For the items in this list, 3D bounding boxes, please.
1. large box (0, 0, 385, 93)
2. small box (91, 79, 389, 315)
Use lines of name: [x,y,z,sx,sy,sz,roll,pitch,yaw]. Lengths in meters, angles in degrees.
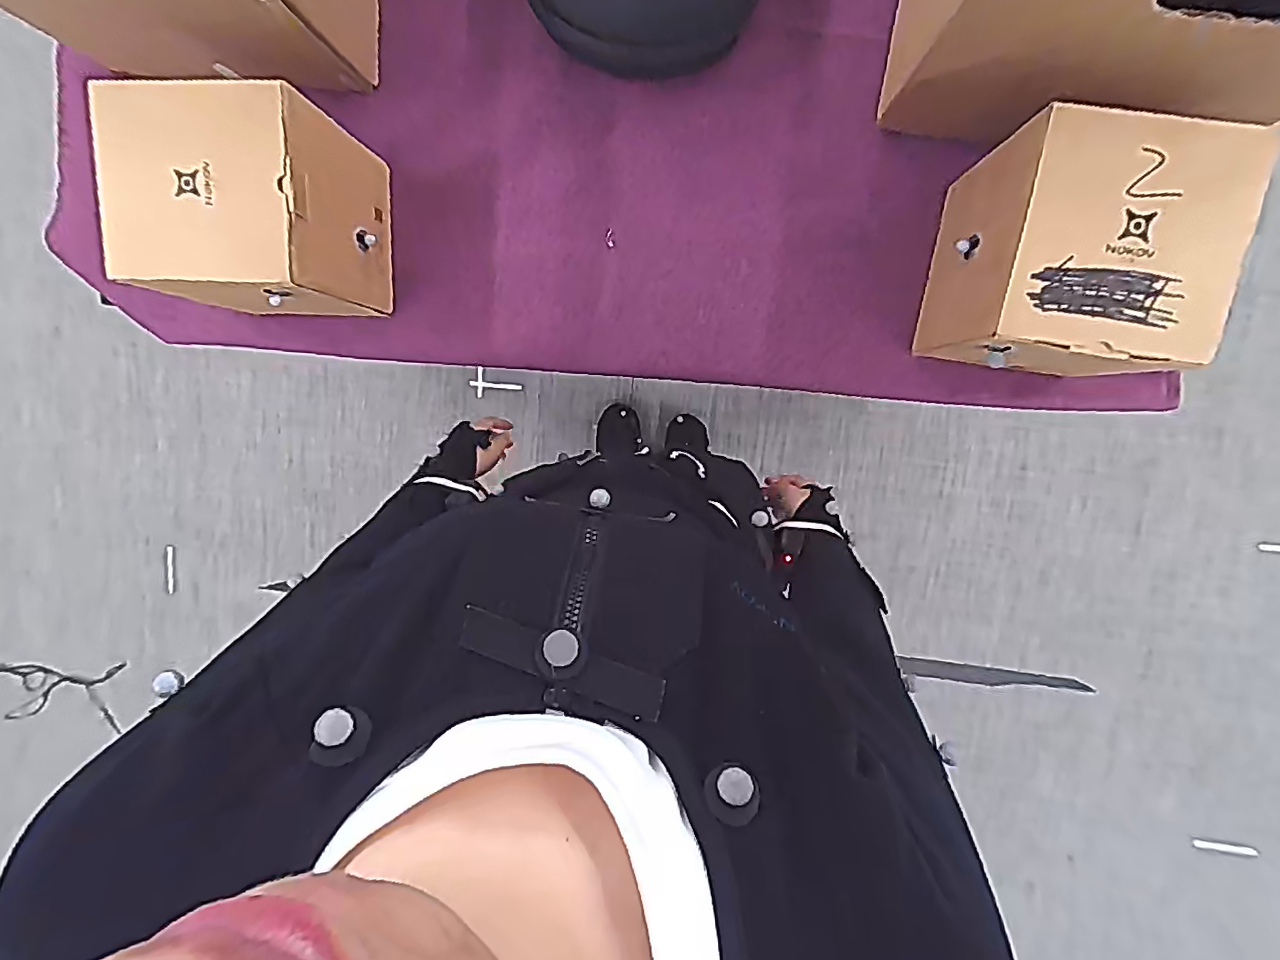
large box: [-0.426,-0.611,0.426,0.320,0.320,0.408,5,101,2]
small box: [-0.381,-0.266,0.546,0.179,0.176,0.168,2,97,3]
